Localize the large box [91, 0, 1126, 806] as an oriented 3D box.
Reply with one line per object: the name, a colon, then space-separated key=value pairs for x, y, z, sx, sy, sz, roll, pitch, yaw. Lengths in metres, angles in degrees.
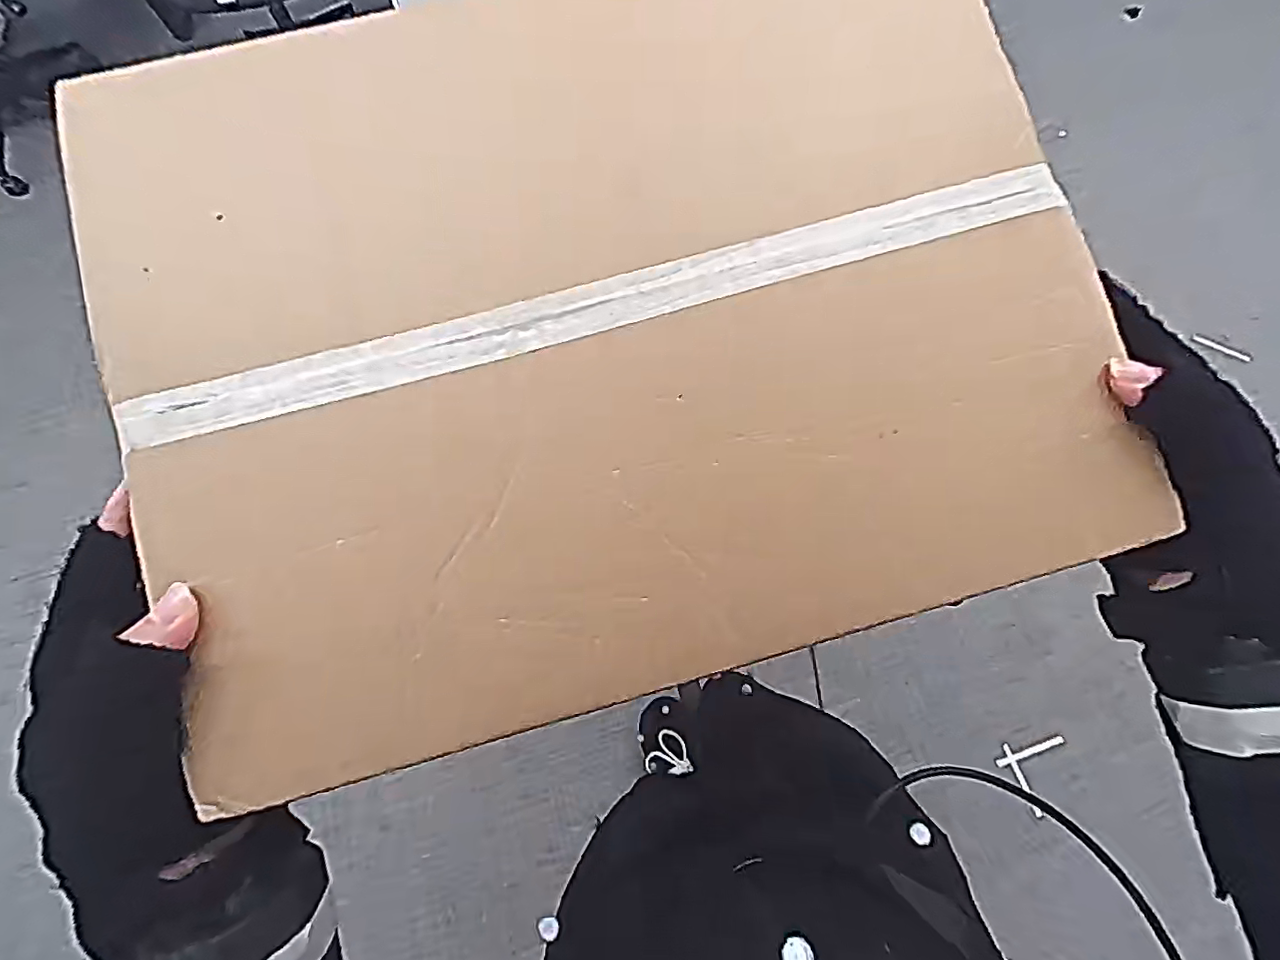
large box: x=-0.017 y=-0.056 z=0.387 sx=0.408 sy=0.320 sz=0.320 roll=-16 pitch=84 yaw=-3
